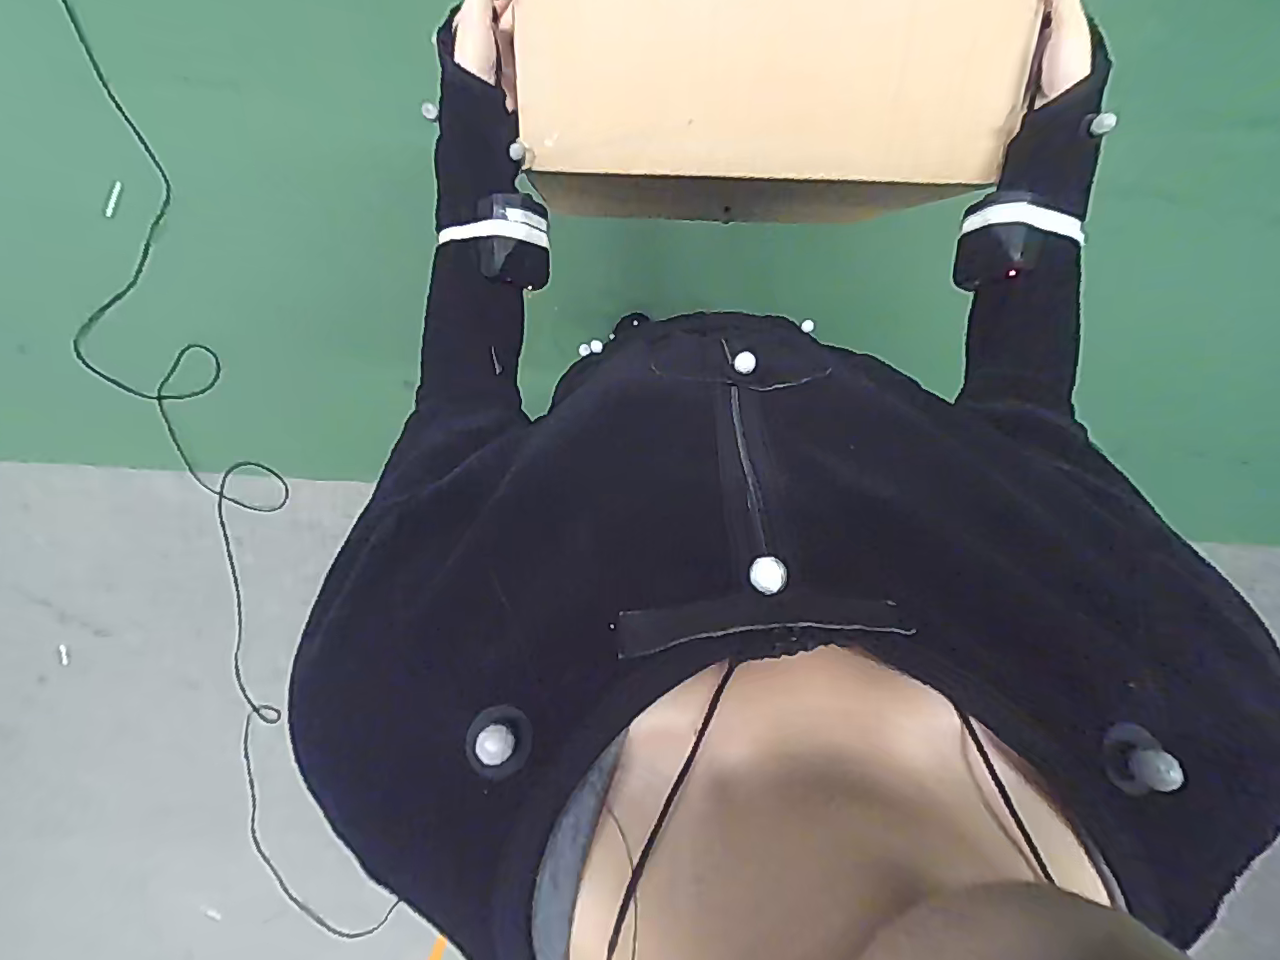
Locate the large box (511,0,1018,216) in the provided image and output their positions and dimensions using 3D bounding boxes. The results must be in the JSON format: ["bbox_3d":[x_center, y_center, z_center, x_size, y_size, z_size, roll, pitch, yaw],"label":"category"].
[{"bbox_3d":[0.096,-0.452,0.547,0.408,0.320,0.320,0,109,-2],"label":"large box"}]
